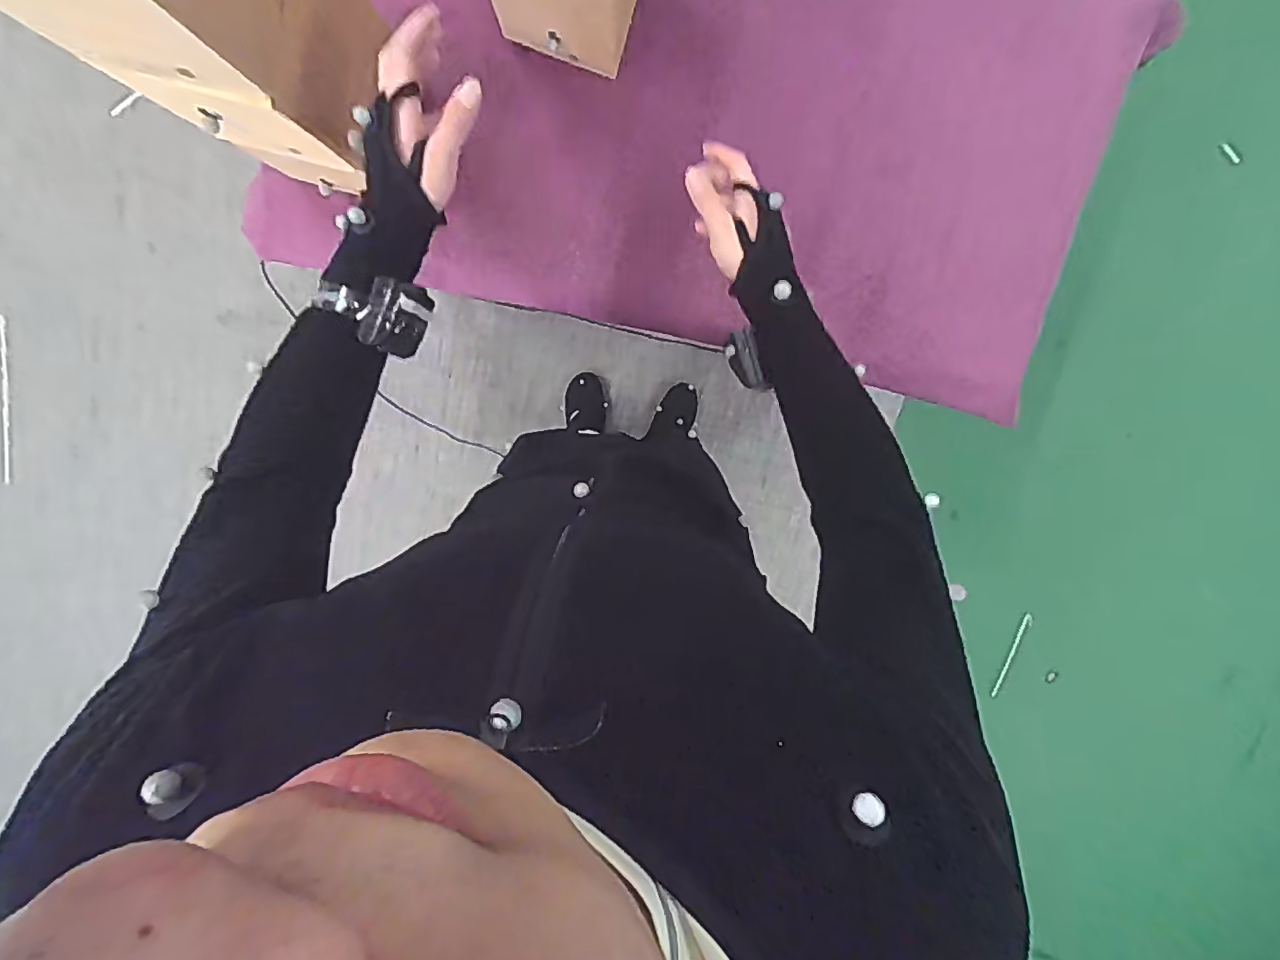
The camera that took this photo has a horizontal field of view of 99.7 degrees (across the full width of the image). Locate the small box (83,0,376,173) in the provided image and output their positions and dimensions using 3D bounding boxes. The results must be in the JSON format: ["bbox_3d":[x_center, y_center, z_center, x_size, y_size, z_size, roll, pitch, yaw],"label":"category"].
[{"bbox_3d":[-0.387,-0.439,0.538,0.168,0.176,0.179,13,100,-4],"label":"small box"}]

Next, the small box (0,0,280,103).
[{"bbox_3d":[-0.380,-0.412,0.376,0.168,0.176,0.179,10,99,-4],"label":"small box"}]

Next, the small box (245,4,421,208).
[{"bbox_3d":[-0.397,-0.480,0.694,0.168,0.176,0.179,12,101,-5],"label":"small box"}]

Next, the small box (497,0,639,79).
[{"bbox_3d":[-0.084,-0.655,0.670,0.168,0.176,0.179,17,102,-6],"label":"small box"}]
